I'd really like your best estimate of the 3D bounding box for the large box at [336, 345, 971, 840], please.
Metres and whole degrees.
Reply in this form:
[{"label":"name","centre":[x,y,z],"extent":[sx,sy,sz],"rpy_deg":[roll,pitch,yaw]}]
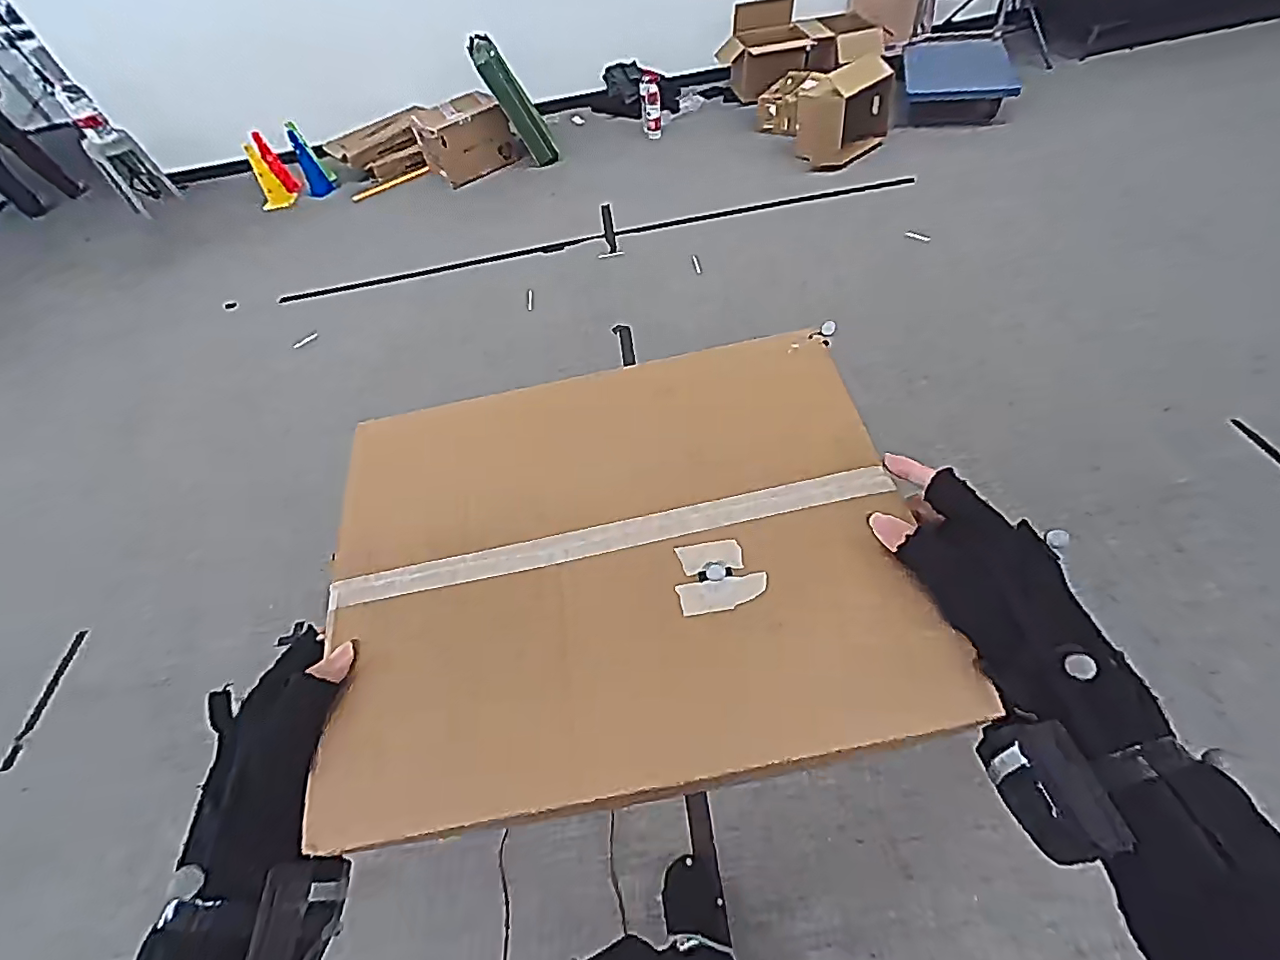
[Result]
[{"label":"large box","centre":[-0.002,0.124,0.528],"extent":[0.408,0.320,0.320],"rpy_deg":[-12,59,0]}]
